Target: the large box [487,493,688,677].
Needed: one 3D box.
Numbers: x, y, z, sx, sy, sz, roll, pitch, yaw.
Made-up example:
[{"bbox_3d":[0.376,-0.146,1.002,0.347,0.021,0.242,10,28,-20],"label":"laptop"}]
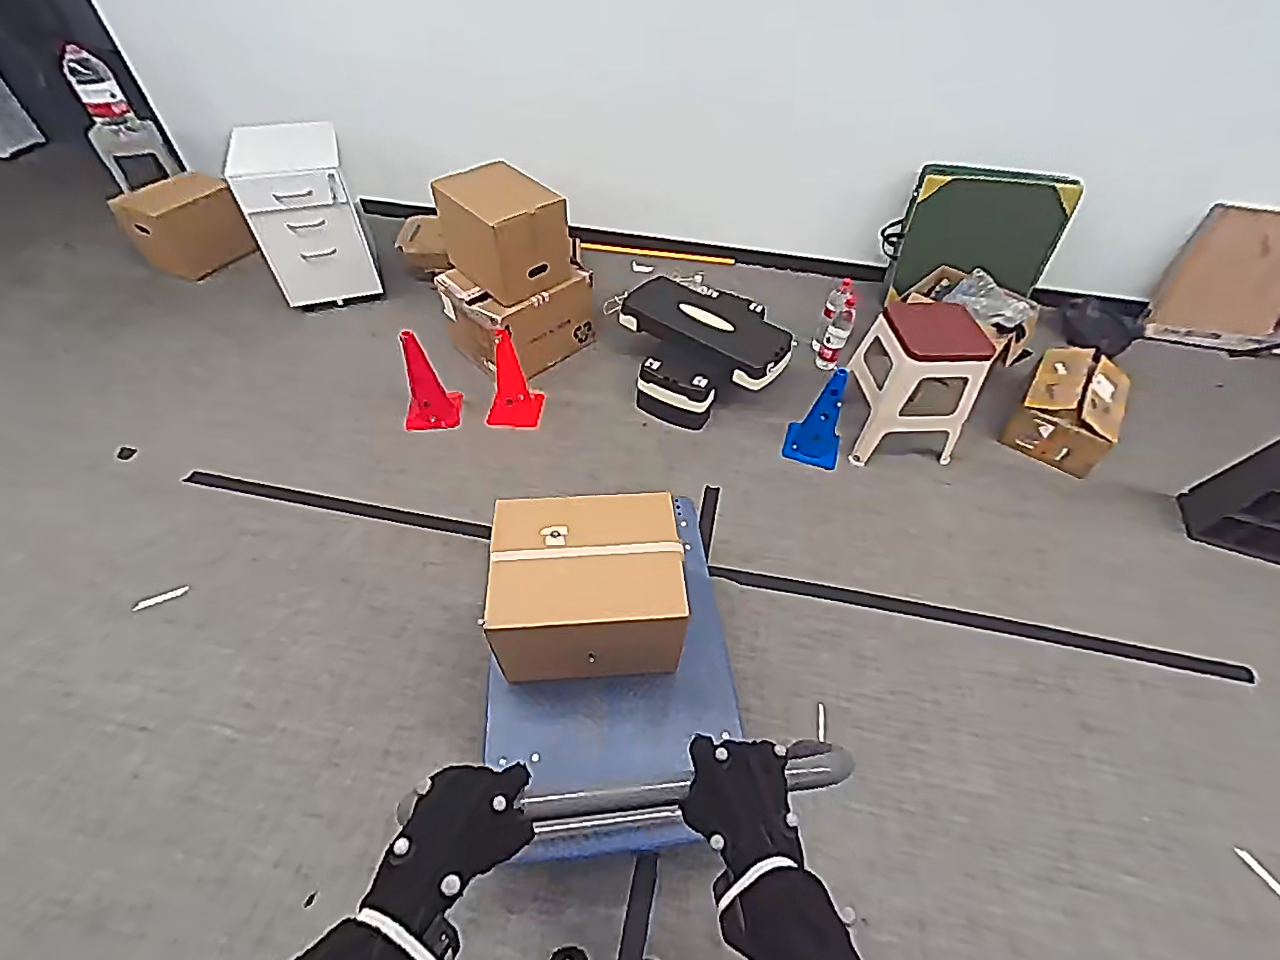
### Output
[{"bbox_3d":[-0.116,0.252,1.271,0.408,0.320,0.320,-2,51,-4],"label":"large box"}]
